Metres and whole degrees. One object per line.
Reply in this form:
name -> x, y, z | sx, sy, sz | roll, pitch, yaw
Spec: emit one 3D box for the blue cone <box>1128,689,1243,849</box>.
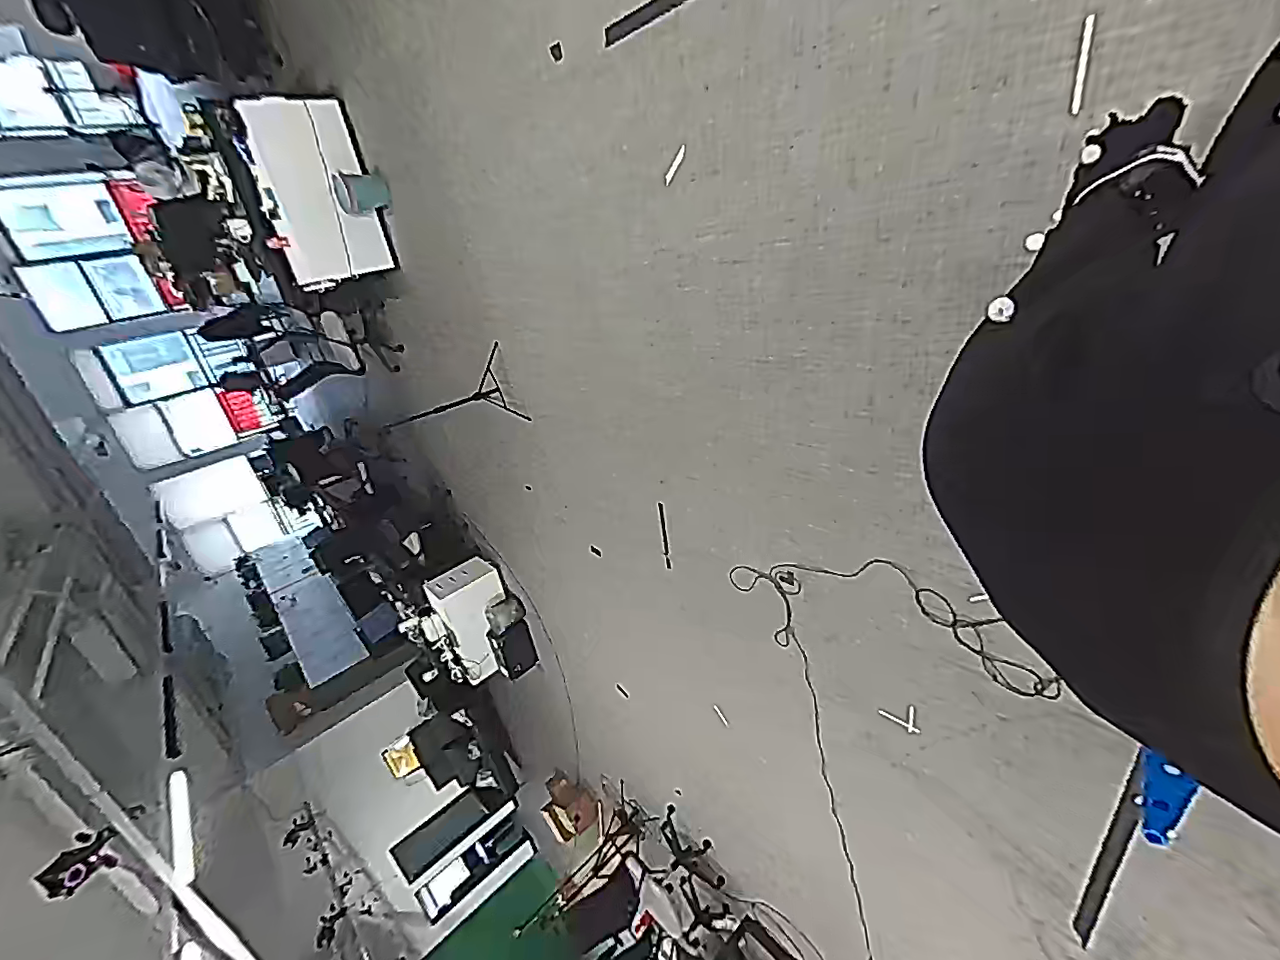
blue cone -> 1.225, 0.682, 1.246 | 0.192, 0.380, 0.193 | 14, 125, 46
